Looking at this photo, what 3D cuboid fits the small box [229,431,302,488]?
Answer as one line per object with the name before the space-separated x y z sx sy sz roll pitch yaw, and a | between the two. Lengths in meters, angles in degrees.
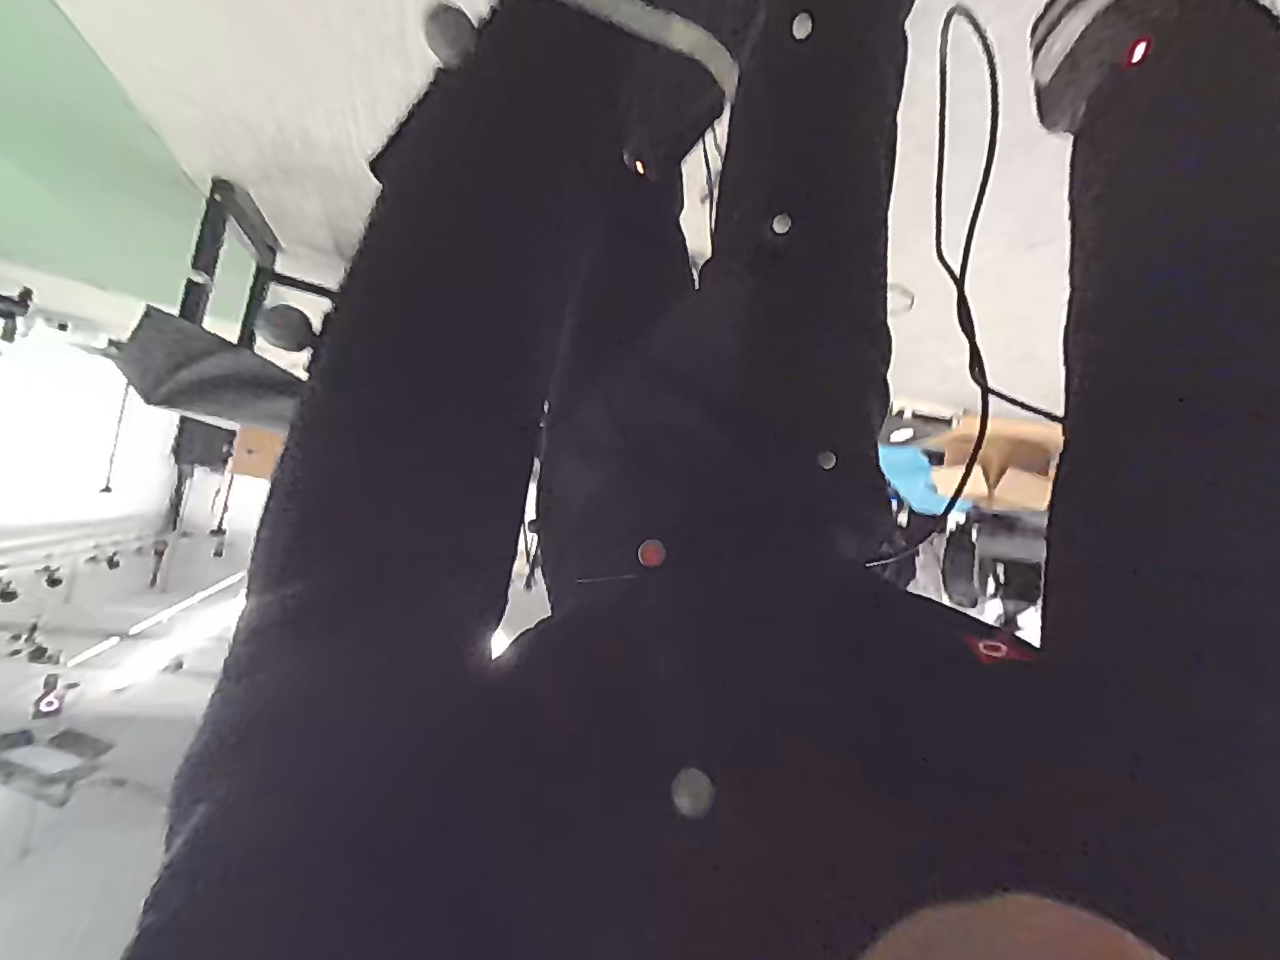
small box | -1.298 -0.074 1.874 0.179 0.176 0.168 13 176 -36
